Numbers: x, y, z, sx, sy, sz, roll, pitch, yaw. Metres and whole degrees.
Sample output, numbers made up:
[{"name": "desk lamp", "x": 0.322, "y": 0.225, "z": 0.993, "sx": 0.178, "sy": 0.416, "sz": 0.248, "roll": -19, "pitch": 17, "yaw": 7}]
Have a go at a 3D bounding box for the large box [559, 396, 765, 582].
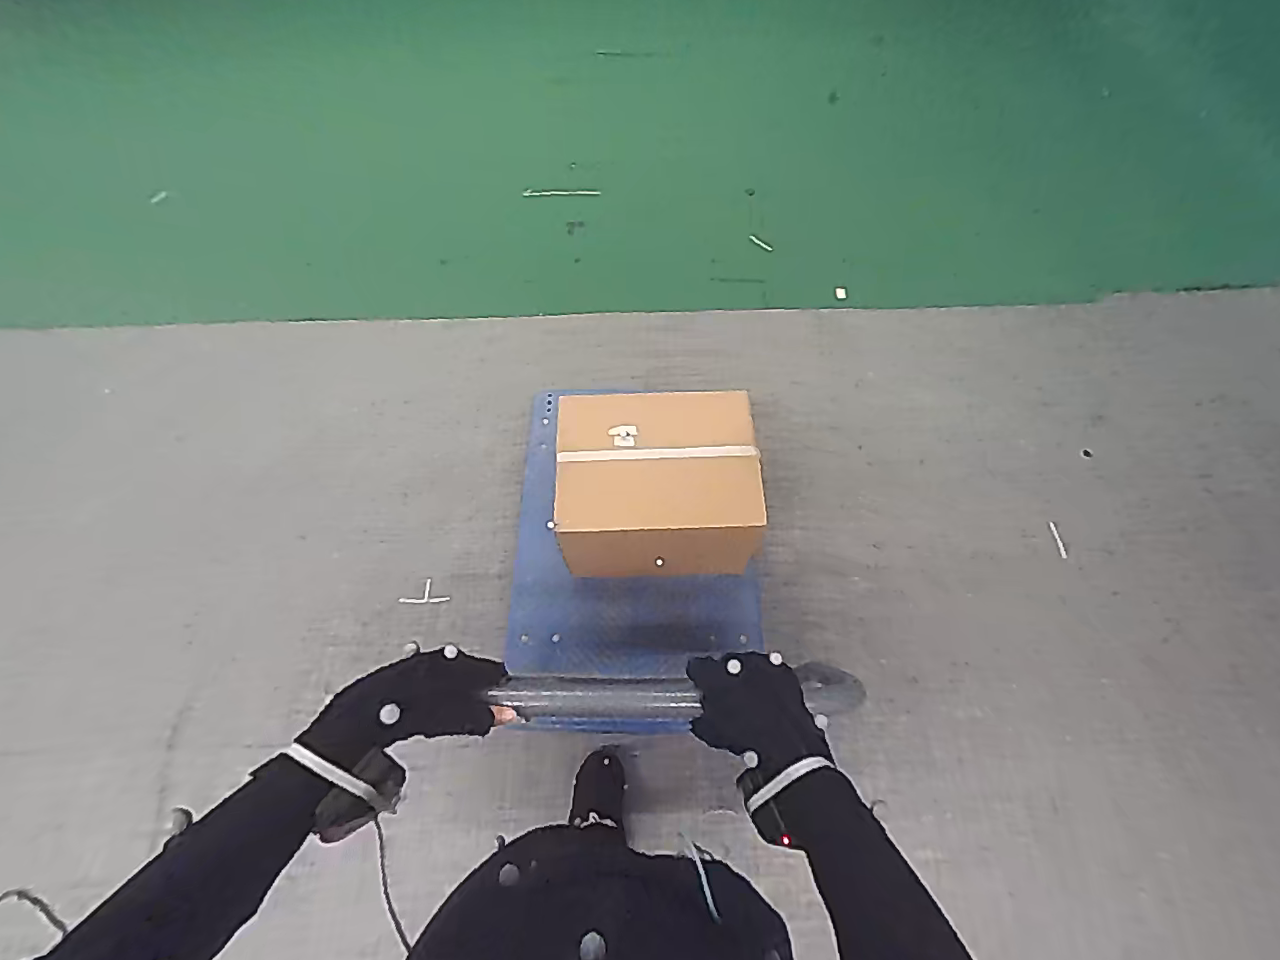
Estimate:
[{"name": "large box", "x": 0.039, "y": 0.035, "z": 1.232, "sx": 0.408, "sy": 0.320, "sz": 0.320, "roll": -3, "pitch": 63, "yaw": 0}]
